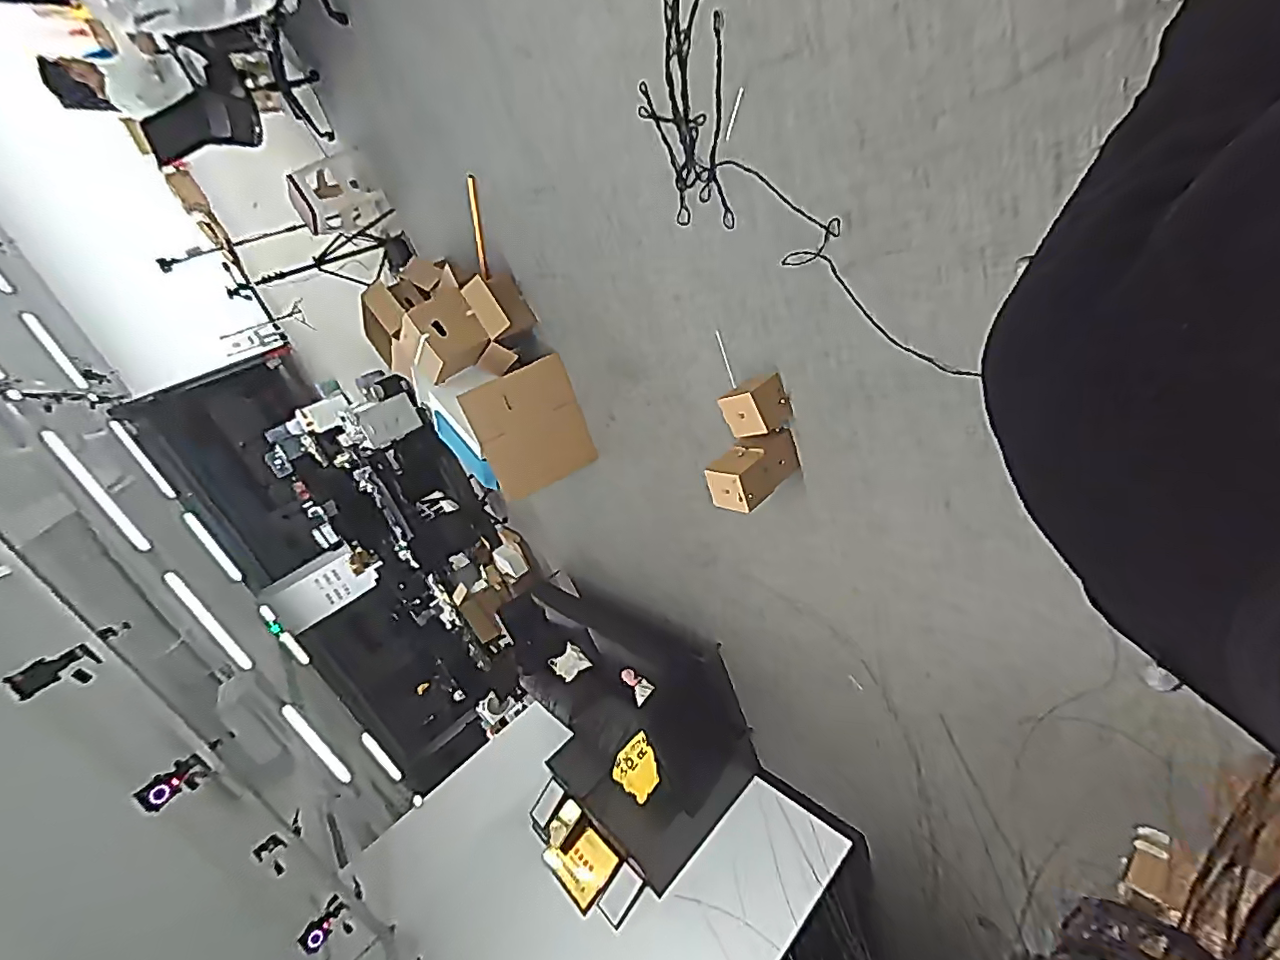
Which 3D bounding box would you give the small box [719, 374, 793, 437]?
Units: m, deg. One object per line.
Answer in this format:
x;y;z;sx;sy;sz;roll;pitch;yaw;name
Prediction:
0.433;-0.275;2.007;0.179;0.176;0.168;-4;119;57;small box

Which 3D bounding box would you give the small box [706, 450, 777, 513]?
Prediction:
0.383;0.000;2.032;0.179;0.176;0.168;13;132;52;small box

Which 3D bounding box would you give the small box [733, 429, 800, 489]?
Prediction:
0.497;-0.090;2.109;0.168;0.176;0.179;11;130;52;small box
